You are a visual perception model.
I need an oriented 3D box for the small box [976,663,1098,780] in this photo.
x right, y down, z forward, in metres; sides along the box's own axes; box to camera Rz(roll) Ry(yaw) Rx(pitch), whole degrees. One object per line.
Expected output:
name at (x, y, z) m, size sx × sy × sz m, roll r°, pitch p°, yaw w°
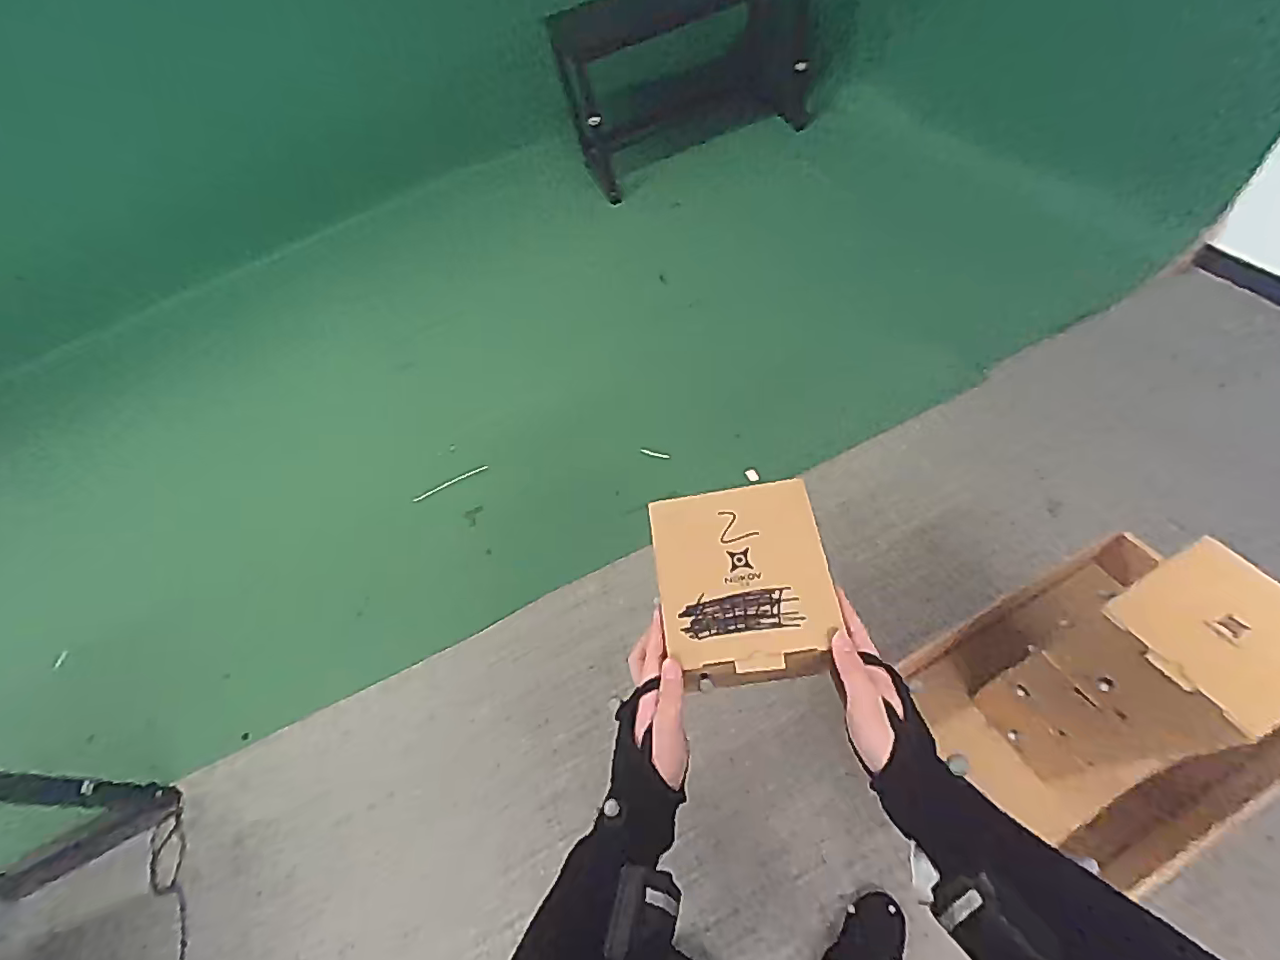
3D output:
small box at (0.725, 0.385, 0.926) m, size 0.179 × 0.176 × 0.168 m, roll -27°, pitch 54°, yaw -7°

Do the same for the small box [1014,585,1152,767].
small box at (0.696, 0.293, 0.794) m, size 0.179 × 0.176 × 0.168 m, roll -28°, pitch 55°, yaw -9°

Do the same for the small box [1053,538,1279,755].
small box at (0.665, 0.207, 0.660) m, size 0.179 × 0.176 × 0.168 m, roll -30°, pitch 56°, yaw -8°
